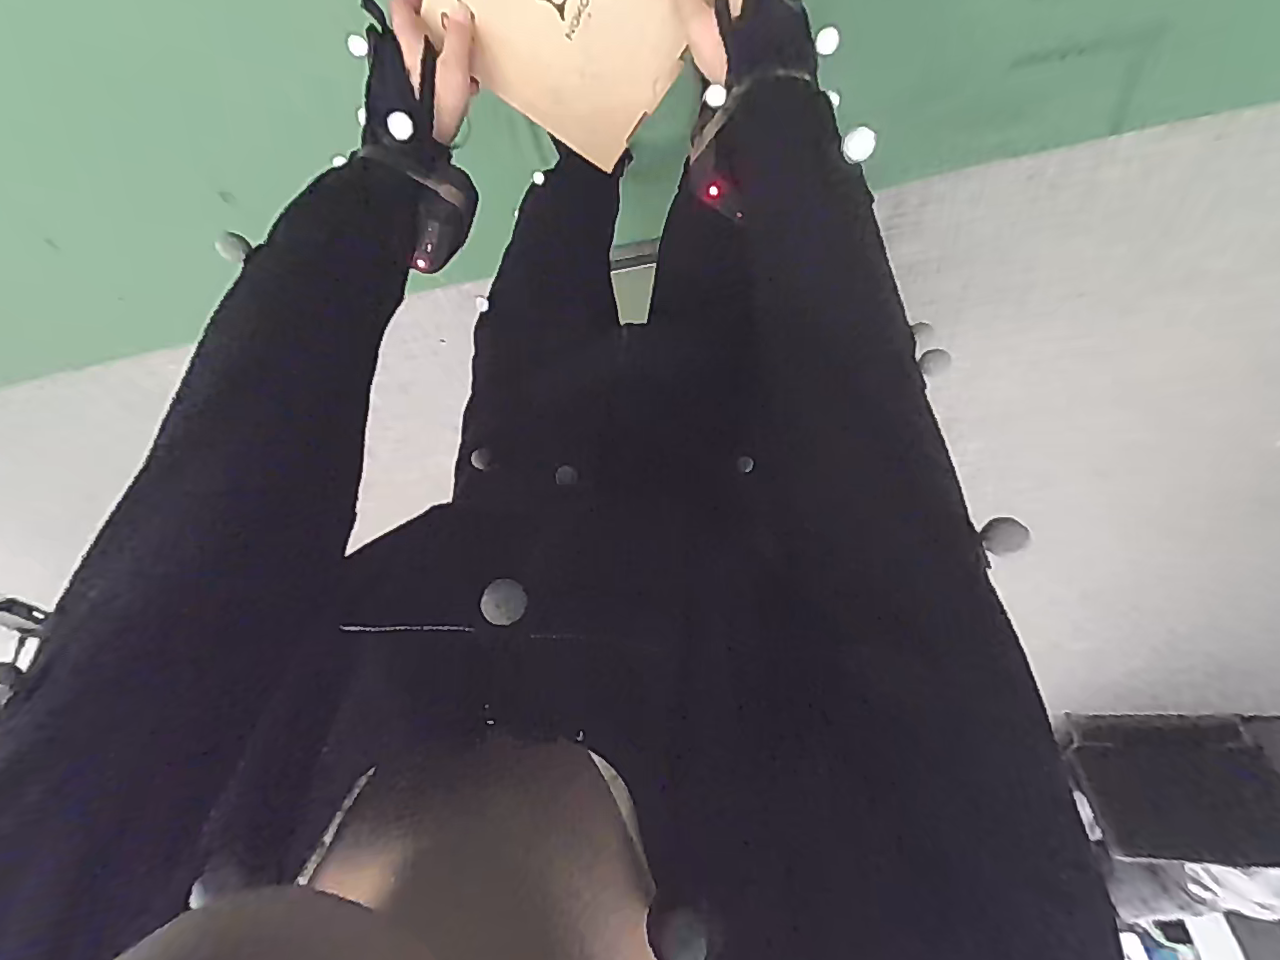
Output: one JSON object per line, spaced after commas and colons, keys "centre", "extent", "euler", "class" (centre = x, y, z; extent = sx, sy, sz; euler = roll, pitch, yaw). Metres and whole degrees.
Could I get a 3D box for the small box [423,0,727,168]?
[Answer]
{"centre": [-0.044, -0.409, 0.437], "extent": [0.179, 0.176, 0.168], "euler": [25, 137, -27], "class": "small box"}
